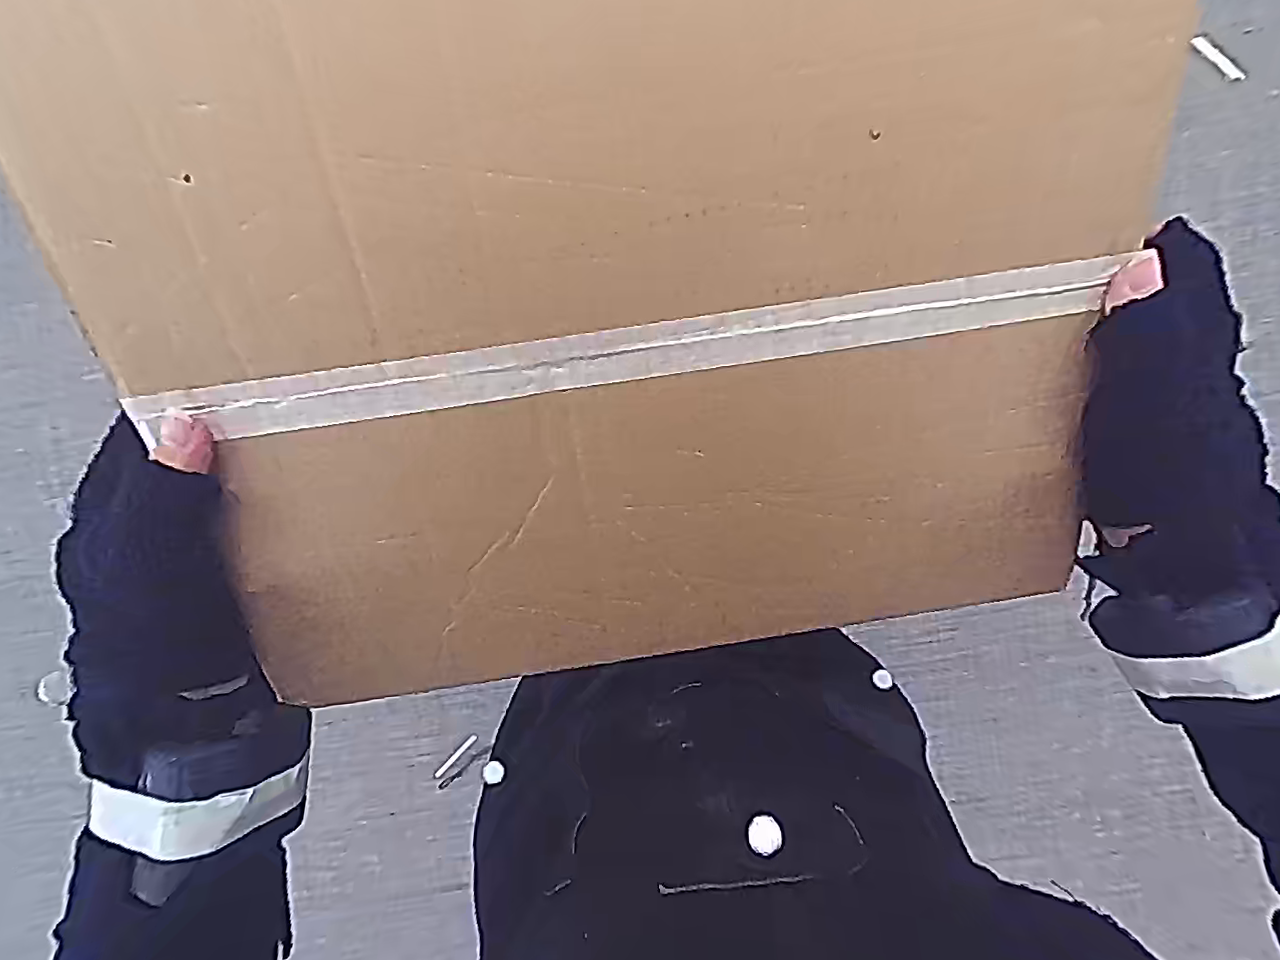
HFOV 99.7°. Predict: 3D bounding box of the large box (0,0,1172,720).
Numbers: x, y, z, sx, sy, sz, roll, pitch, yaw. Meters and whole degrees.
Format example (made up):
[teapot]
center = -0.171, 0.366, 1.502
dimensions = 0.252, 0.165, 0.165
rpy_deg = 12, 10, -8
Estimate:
[large box]
center = -0.008, -0.101, 0.365
dimensions = 0.408, 0.320, 0.320
rpy_deg = -9, 114, -2
